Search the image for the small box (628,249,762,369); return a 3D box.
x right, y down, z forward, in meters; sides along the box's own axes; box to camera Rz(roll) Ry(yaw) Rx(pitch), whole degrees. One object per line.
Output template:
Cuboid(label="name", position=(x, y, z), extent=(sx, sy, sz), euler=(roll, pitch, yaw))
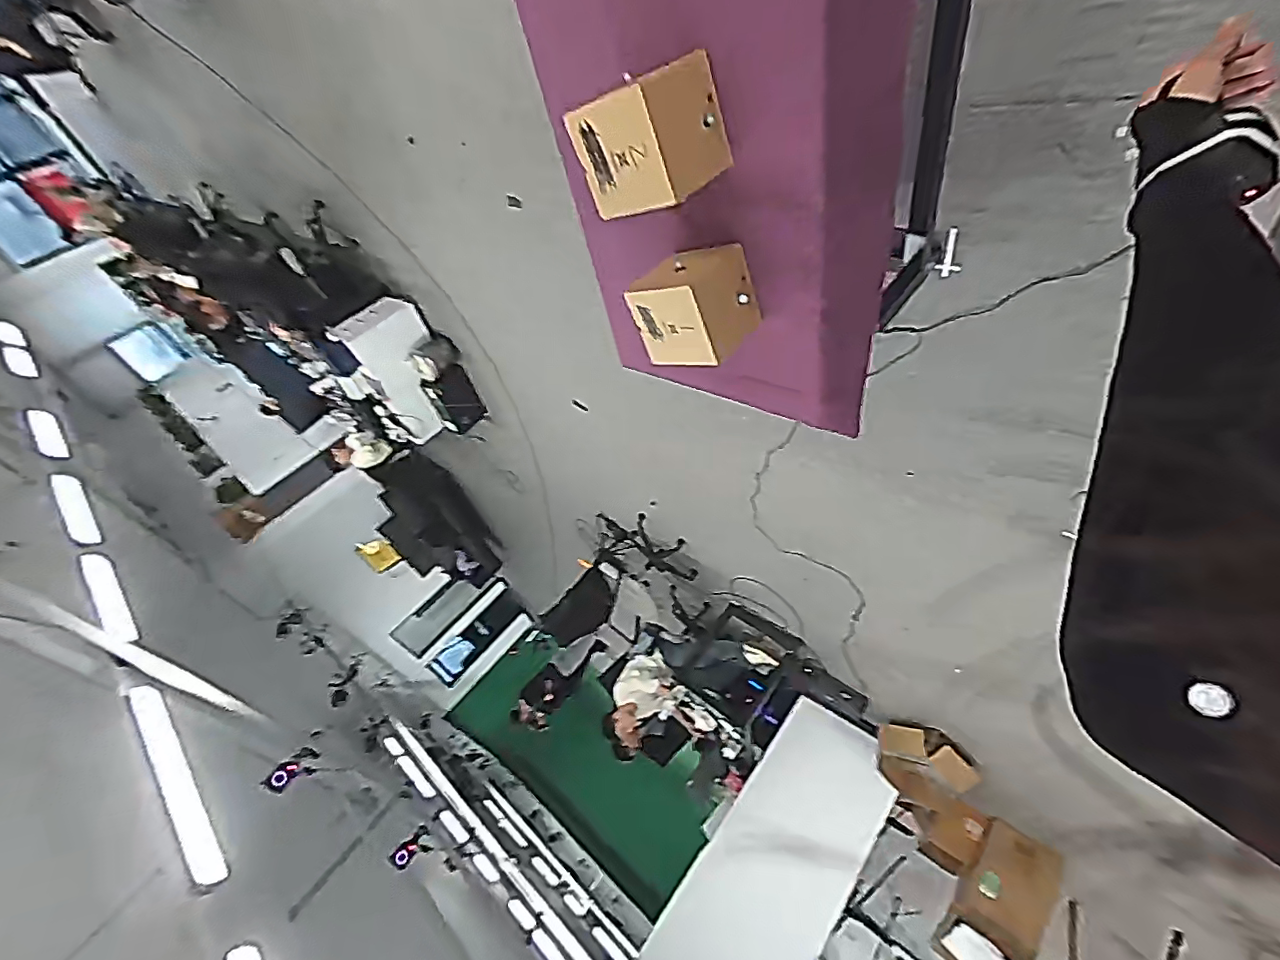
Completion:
Cuboid(label="small box", position=(0.113, -0.341, 1.084), extent=(0.179, 0.176, 0.168), euler=(14, 142, 46))
